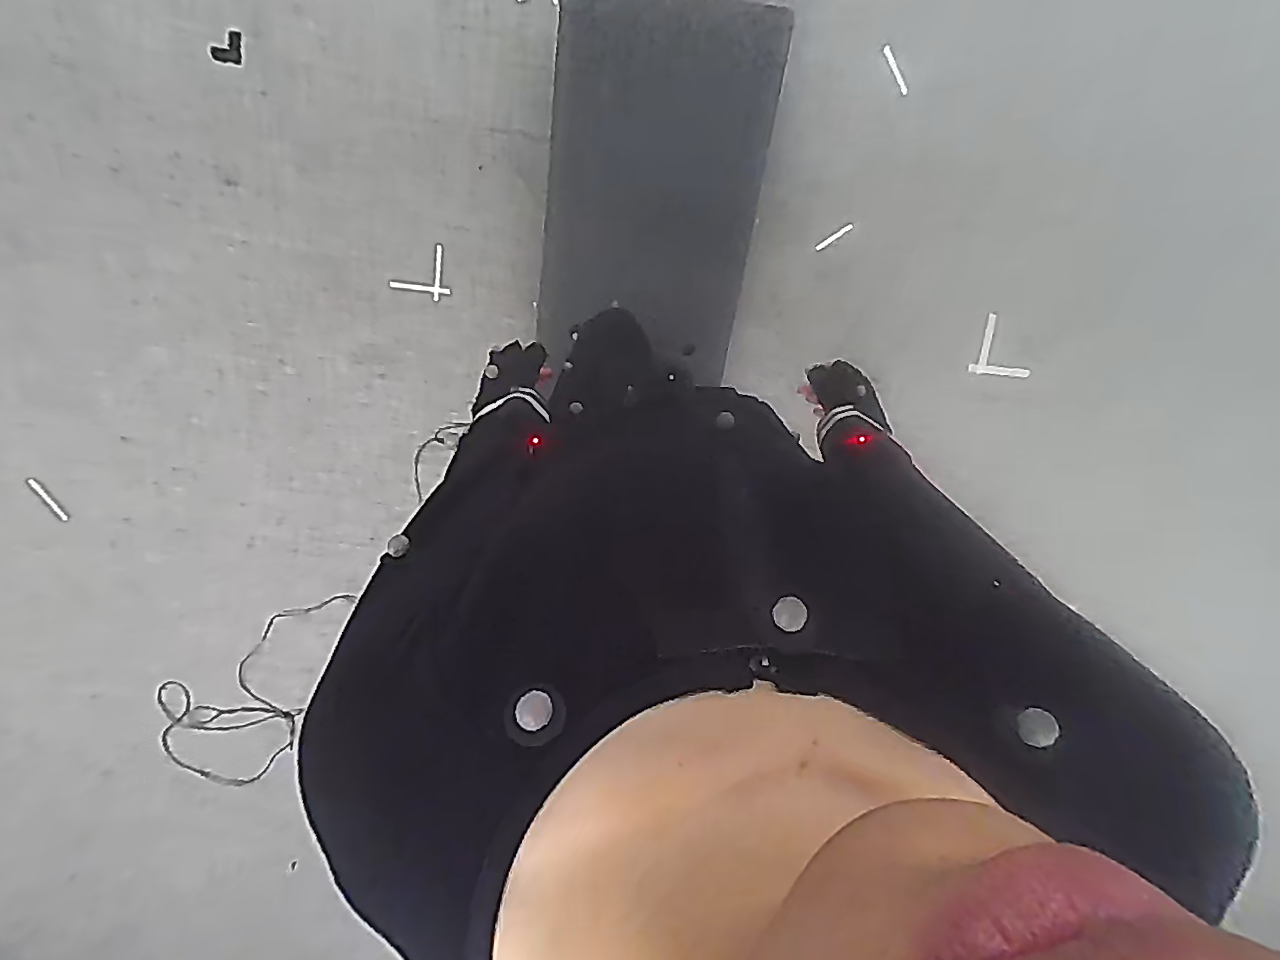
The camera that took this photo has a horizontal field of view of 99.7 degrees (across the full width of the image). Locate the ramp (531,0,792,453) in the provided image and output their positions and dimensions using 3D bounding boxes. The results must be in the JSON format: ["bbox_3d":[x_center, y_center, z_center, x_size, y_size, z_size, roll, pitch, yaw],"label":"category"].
[{"bbox_3d":[0.012,-0.557,1.299,0.509,0.206,0.991,6,103,-4],"label":"ramp"}]
